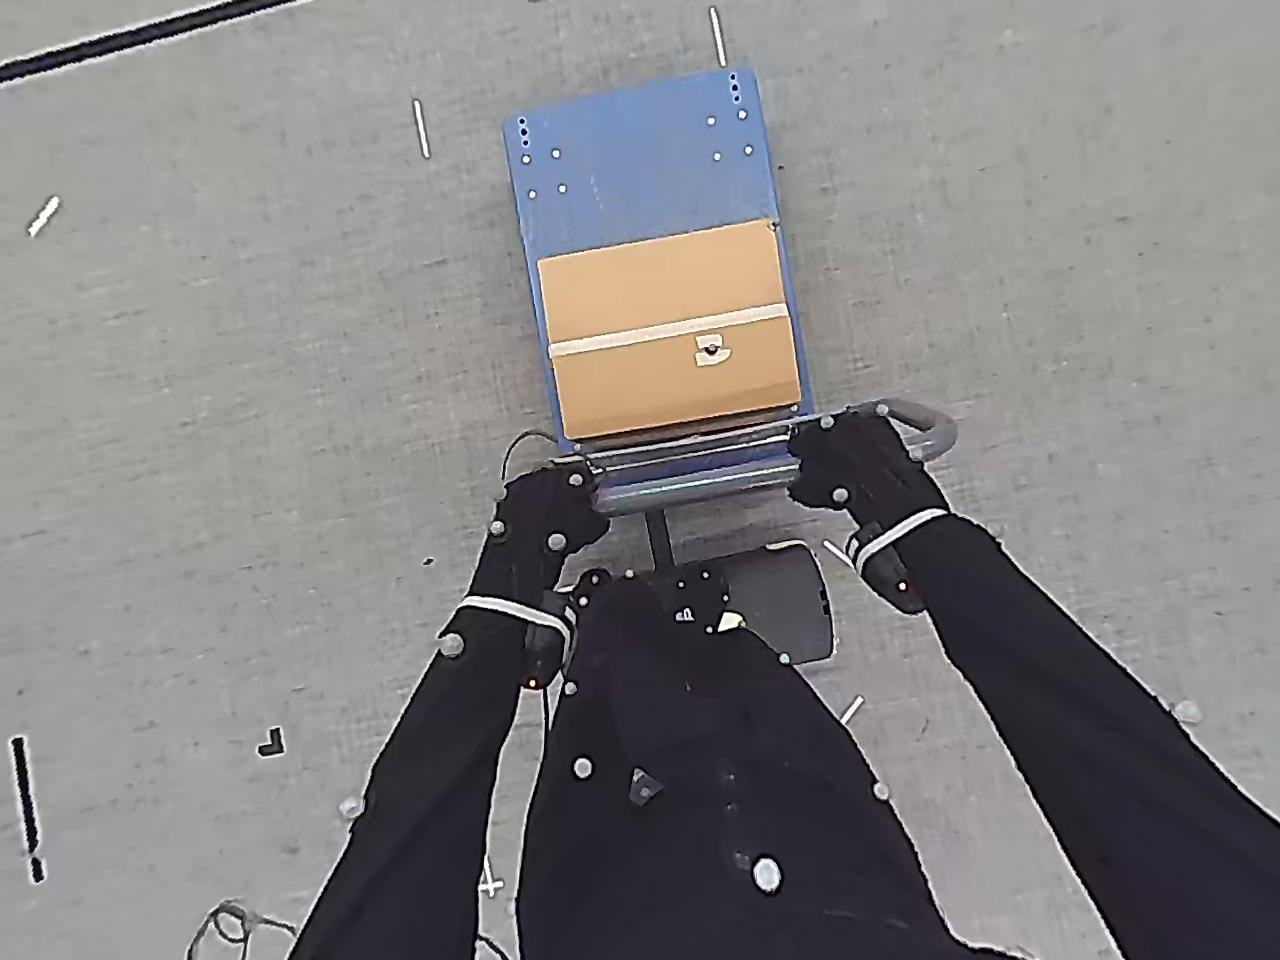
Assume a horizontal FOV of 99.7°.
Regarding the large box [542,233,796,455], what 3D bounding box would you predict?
[{"bbox_3d":[0.052,-0.239,1.080,0.408,0.320,0.320,-9,91,2],"label":"large box"}]
